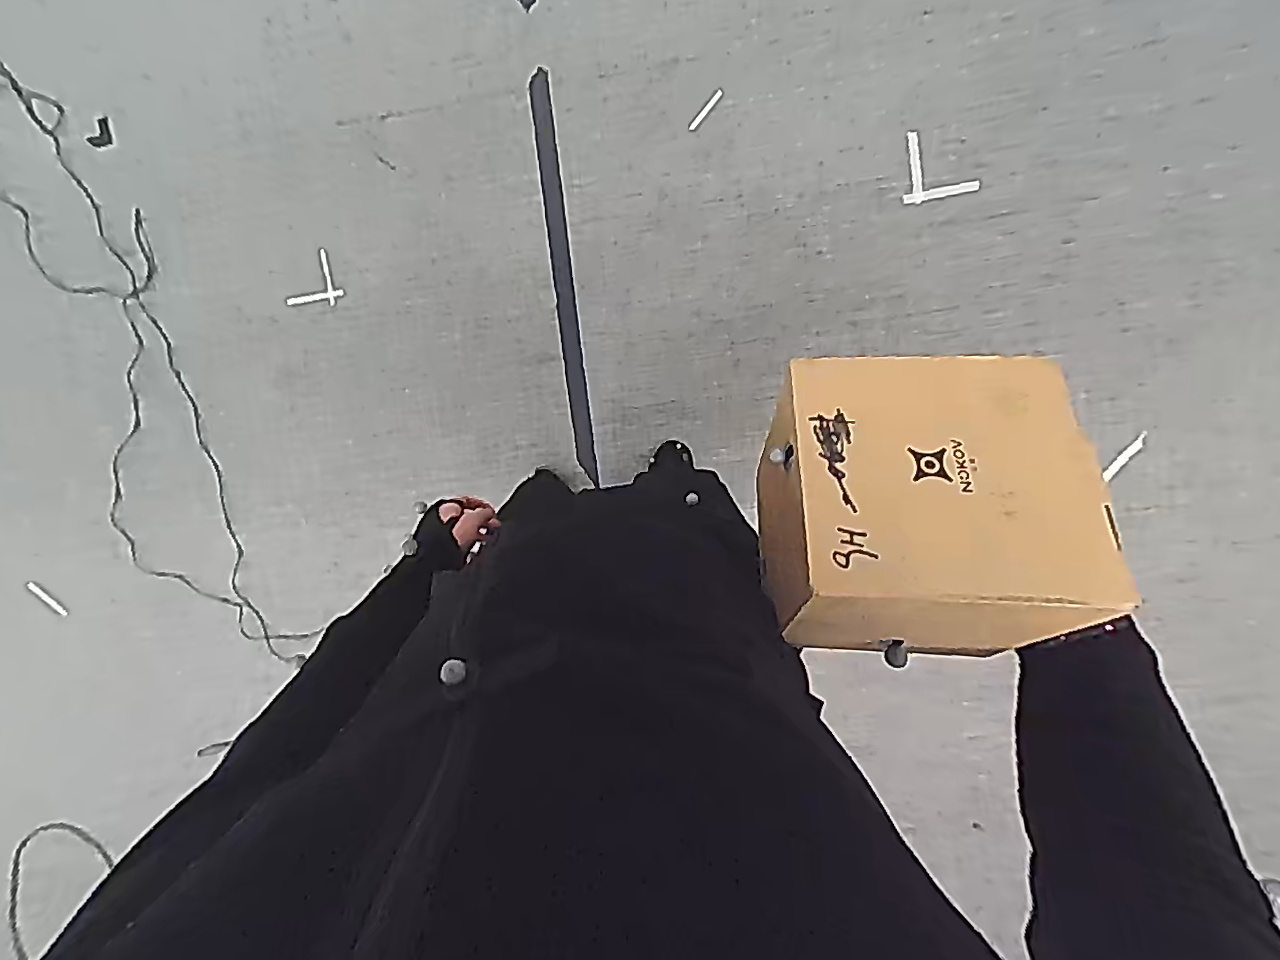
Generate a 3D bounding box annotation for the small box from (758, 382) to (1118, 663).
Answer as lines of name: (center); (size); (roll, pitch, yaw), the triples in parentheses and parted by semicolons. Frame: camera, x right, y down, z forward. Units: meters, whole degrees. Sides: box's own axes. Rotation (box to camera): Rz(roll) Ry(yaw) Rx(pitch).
small box: (0.195, 0.042, 0.418); (0.179, 0.176, 0.168); (1, 63, 4)
